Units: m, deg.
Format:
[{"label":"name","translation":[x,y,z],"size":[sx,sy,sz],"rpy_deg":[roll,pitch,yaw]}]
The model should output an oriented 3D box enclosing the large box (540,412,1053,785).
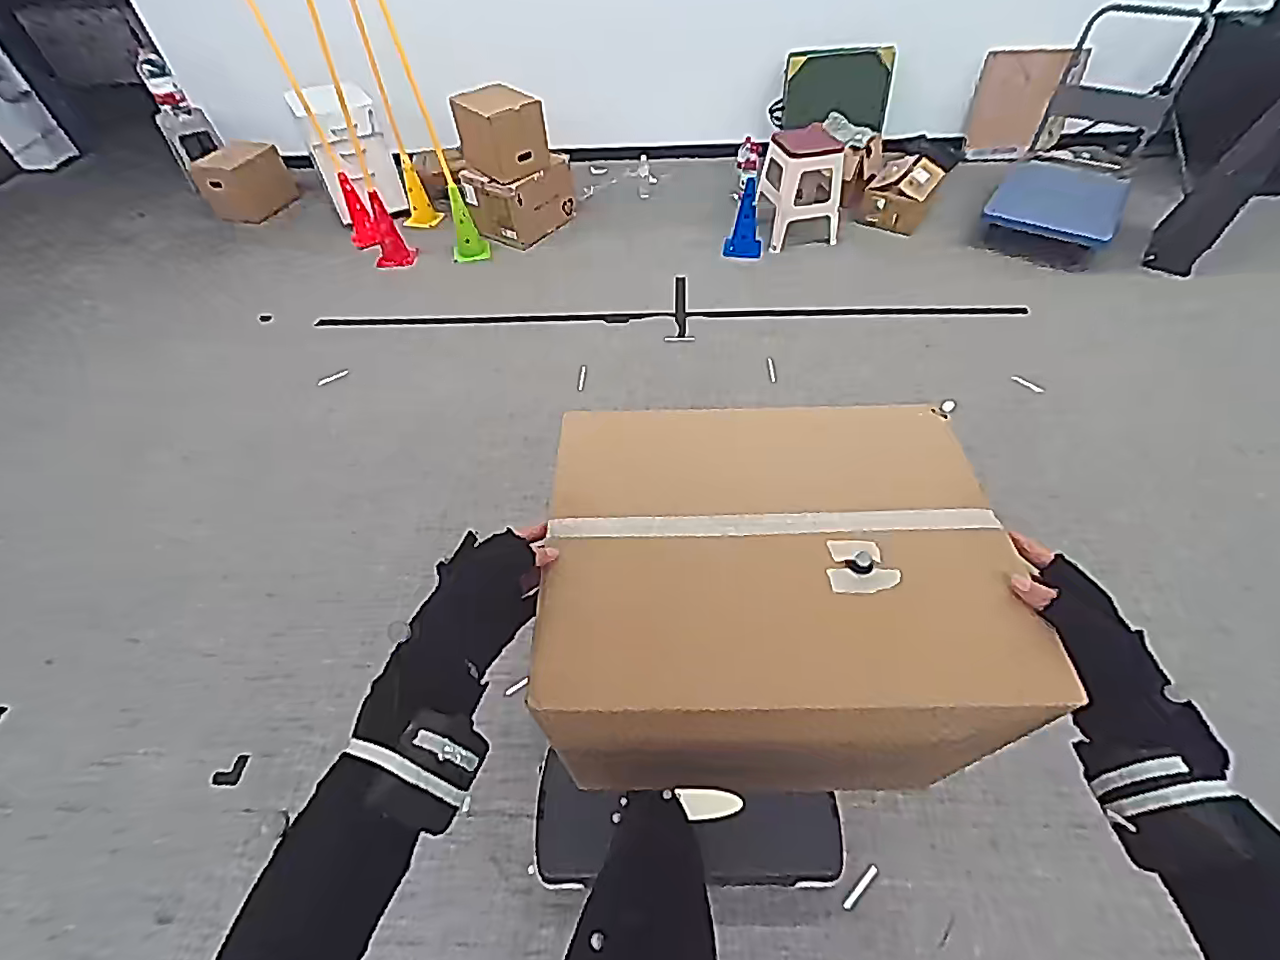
[{"label":"large box","translation":[0.120,0.142,0.621],"size":[0.408,0.320,0.320],"rpy_deg":[-1,51,1]}]
